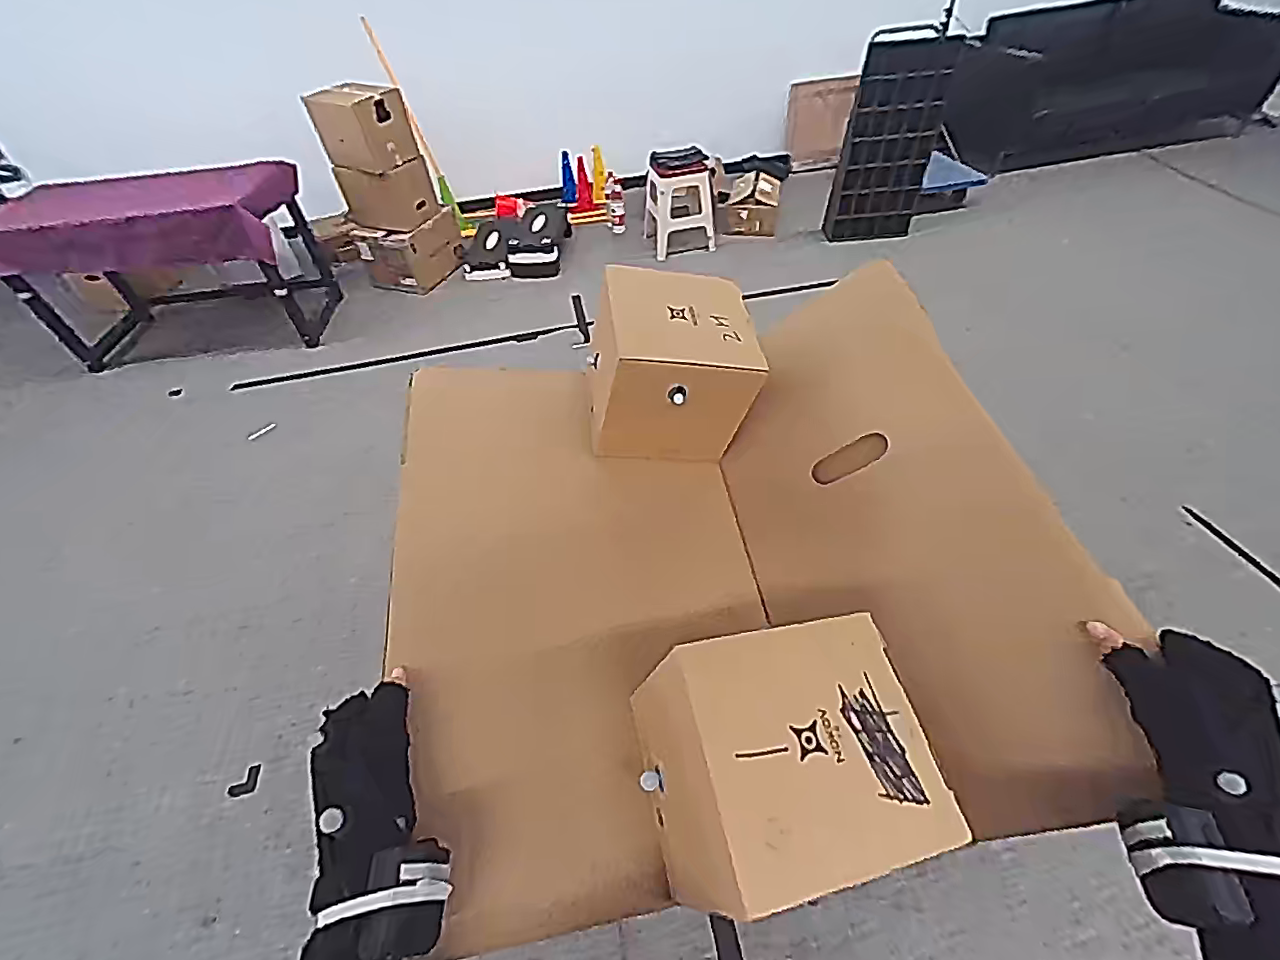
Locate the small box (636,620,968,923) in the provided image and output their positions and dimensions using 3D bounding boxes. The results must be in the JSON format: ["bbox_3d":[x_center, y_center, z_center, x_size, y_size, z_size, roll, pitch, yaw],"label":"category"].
[{"bbox_3d":[0.110,0.232,0.449,0.179,0.176,0.168,-5,57,-17],"label":"small box"}]

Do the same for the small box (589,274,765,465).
[{"bbox_3d":[0.031,-0.133,0.691,0.179,0.176,0.168,2,55,-15],"label":"small box"}]
